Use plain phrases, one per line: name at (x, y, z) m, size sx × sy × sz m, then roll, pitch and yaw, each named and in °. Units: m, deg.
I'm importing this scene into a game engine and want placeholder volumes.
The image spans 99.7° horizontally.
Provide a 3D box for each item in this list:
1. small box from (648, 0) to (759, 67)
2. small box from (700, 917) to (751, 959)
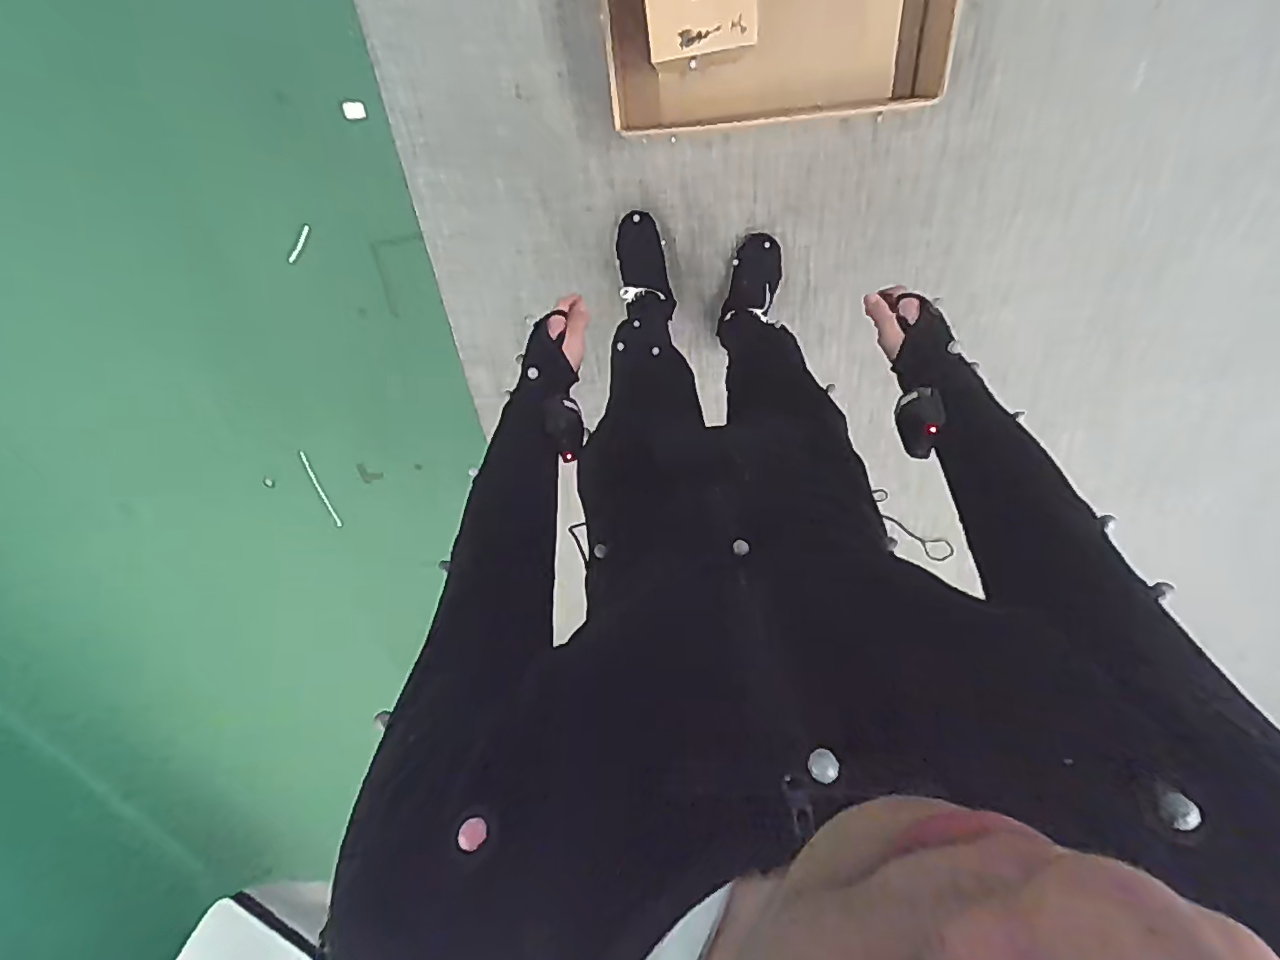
small box at (0.095, -0.774, 0.847) m, size 0.168 × 0.176 × 0.179 m, roll -4°, pitch 123°, yaw 8°
small box at (0.289, 1.616, 1.824) m, size 0.168 × 0.176 × 0.179 m, roll -3°, pitch 122°, yaw 8°
